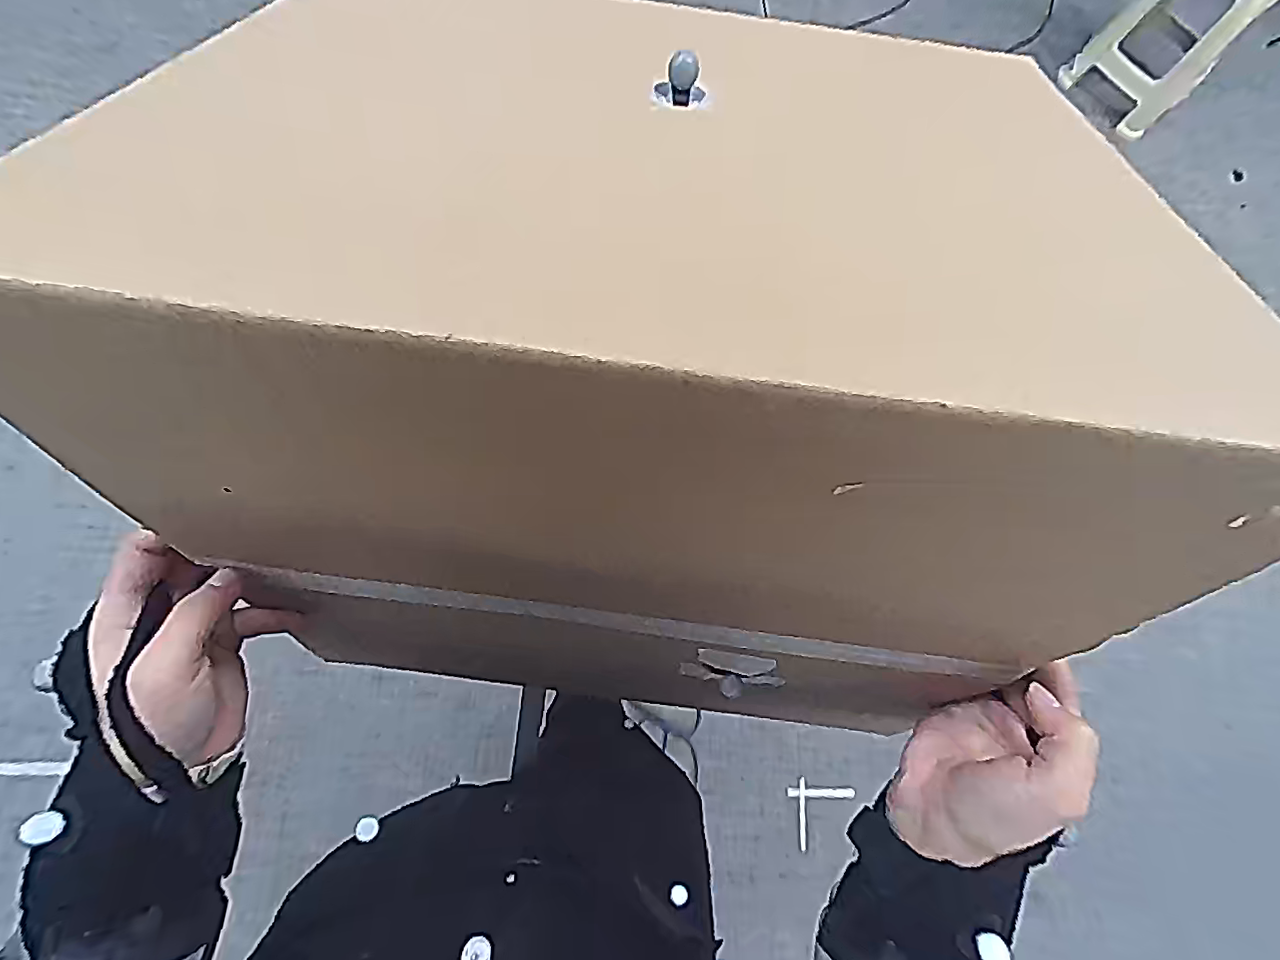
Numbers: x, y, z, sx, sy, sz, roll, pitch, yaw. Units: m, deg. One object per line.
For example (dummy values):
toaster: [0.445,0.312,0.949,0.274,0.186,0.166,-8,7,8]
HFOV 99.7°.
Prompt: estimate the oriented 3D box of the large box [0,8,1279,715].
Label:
large box: [0.001,-0.062,0.358,0.408,0.320,0.320,7,55,0]
